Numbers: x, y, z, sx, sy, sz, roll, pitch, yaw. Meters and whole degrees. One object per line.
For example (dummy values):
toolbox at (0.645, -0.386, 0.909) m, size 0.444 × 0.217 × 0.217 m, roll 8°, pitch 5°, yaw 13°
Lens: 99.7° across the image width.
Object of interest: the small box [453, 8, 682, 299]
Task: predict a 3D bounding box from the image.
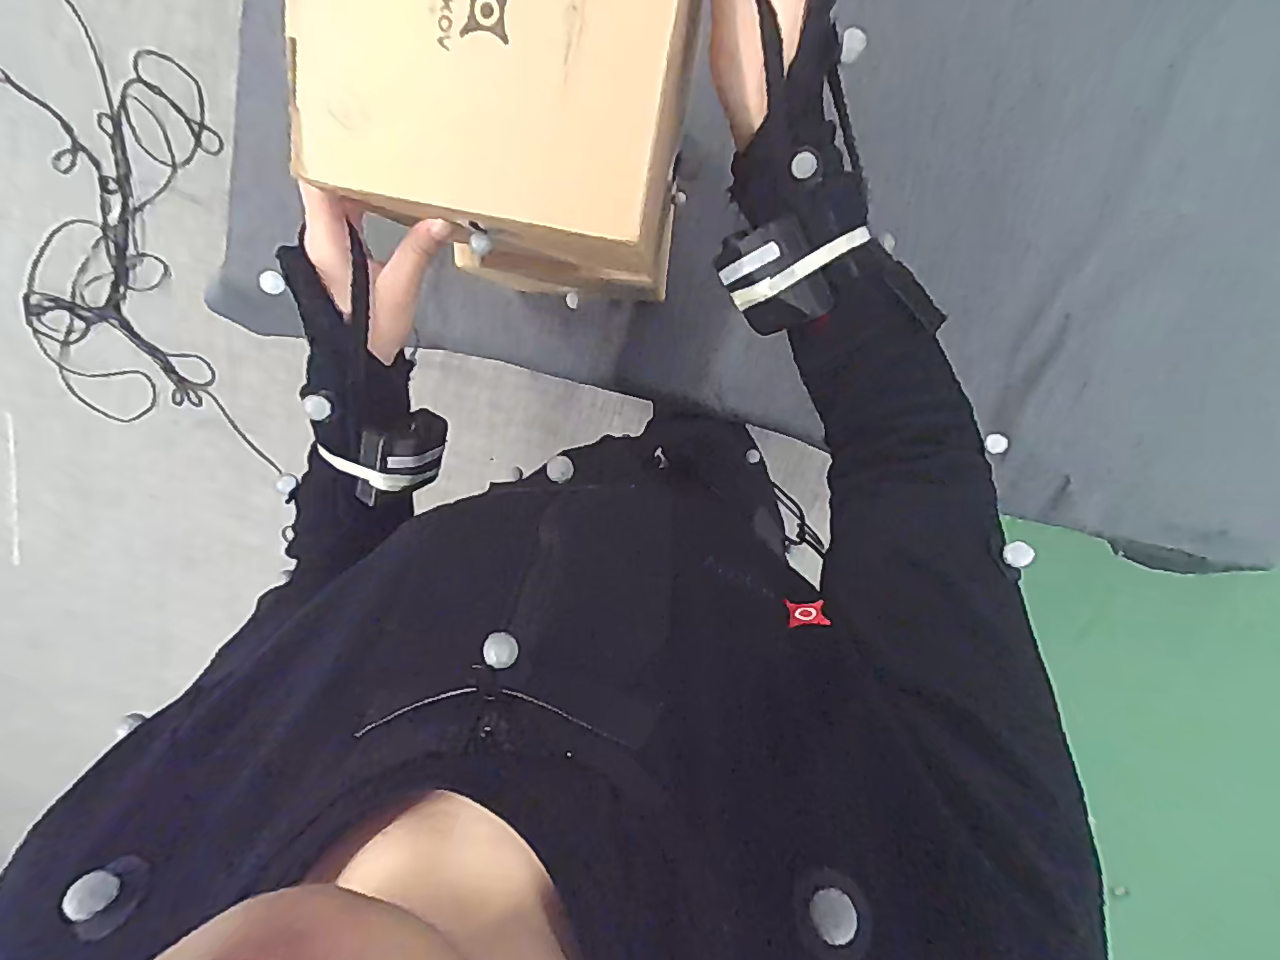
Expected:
small box at (-0.054, -0.268, 0.485) m, size 0.168 × 0.176 × 0.179 m, roll 7°, pitch 104°, yaw 4°
